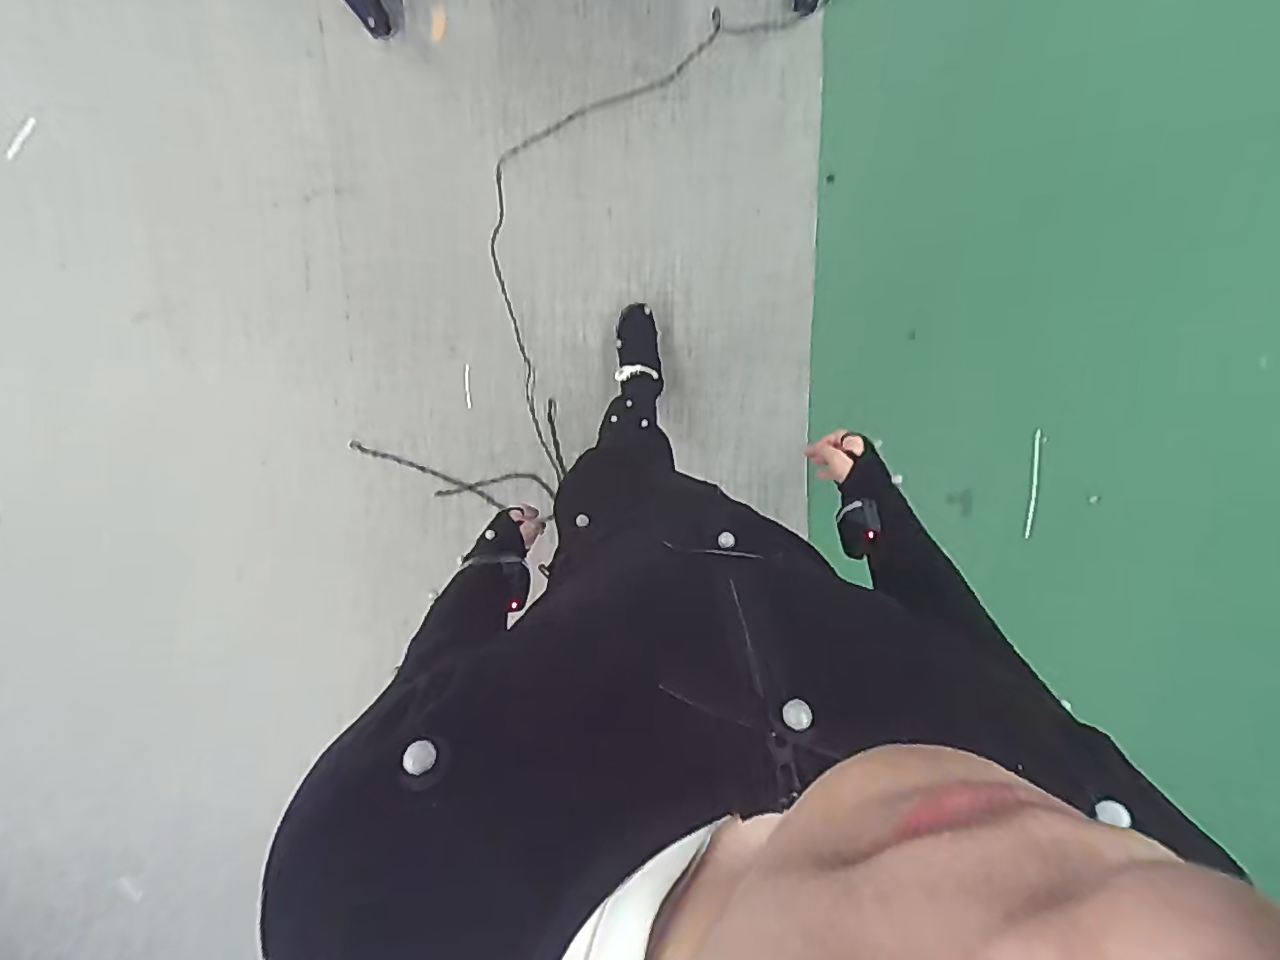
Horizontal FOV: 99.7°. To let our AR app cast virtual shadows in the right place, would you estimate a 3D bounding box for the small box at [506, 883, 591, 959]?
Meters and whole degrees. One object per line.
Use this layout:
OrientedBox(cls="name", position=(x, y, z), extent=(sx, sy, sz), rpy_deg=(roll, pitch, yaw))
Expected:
OrientedBox(cls="small box", position=(-0.213, 1.111, 1.296), extent=(0.179, 0.176, 0.168), rpy_deg=(2, 99, 2))
